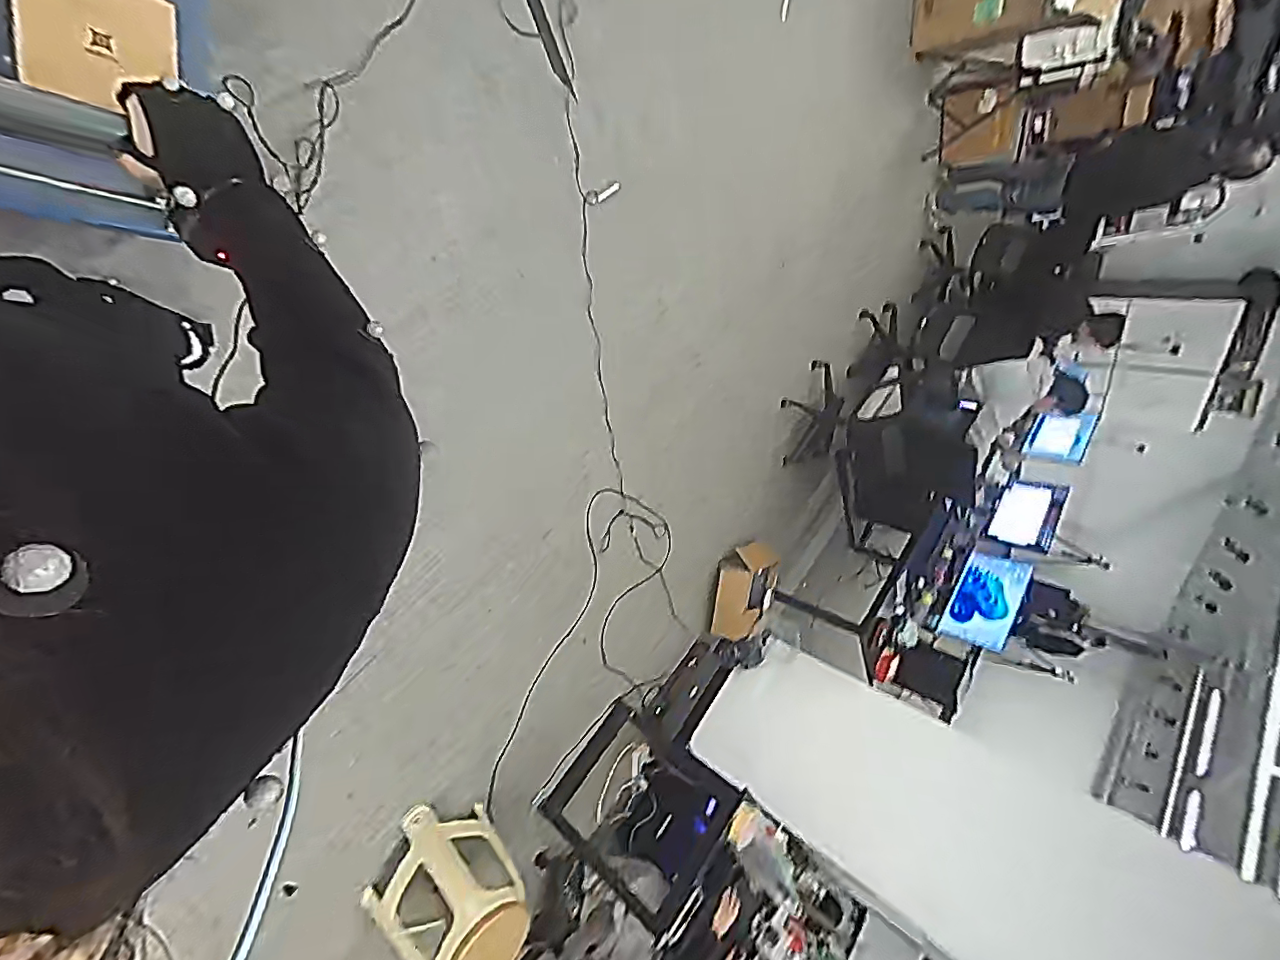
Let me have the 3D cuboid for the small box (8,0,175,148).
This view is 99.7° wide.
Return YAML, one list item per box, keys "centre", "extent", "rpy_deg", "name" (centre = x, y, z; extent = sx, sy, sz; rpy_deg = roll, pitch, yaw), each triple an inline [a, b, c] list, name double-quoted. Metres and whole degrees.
- centre: [-0.817, -0.629, 0.811]
  extent: [0.168, 0.176, 0.179]
  rpy_deg: [-5, 107, -47]
  name: "small box"
